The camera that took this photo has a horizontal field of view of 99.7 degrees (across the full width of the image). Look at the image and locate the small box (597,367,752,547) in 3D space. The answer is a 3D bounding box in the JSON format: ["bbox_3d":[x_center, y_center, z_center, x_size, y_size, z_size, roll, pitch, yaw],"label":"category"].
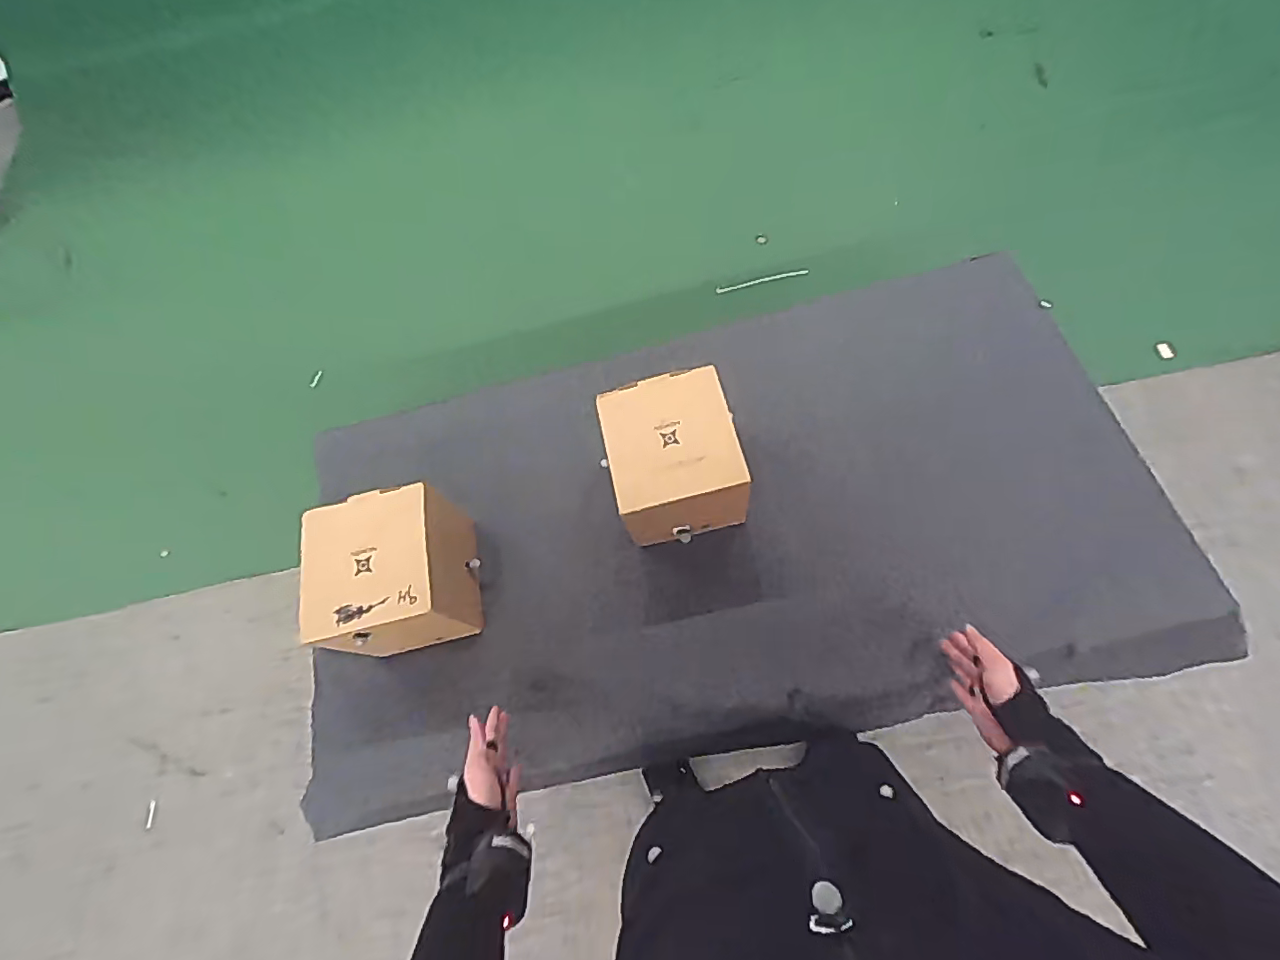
[{"bbox_3d":[0.049,-0.024,0.756,0.168,0.176,0.179,-15,68,3],"label":"small box"}]

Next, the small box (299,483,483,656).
[{"bbox_3d":[-0.329,0.130,0.742,0.168,0.176,0.179,-14,66,2],"label":"small box"}]
